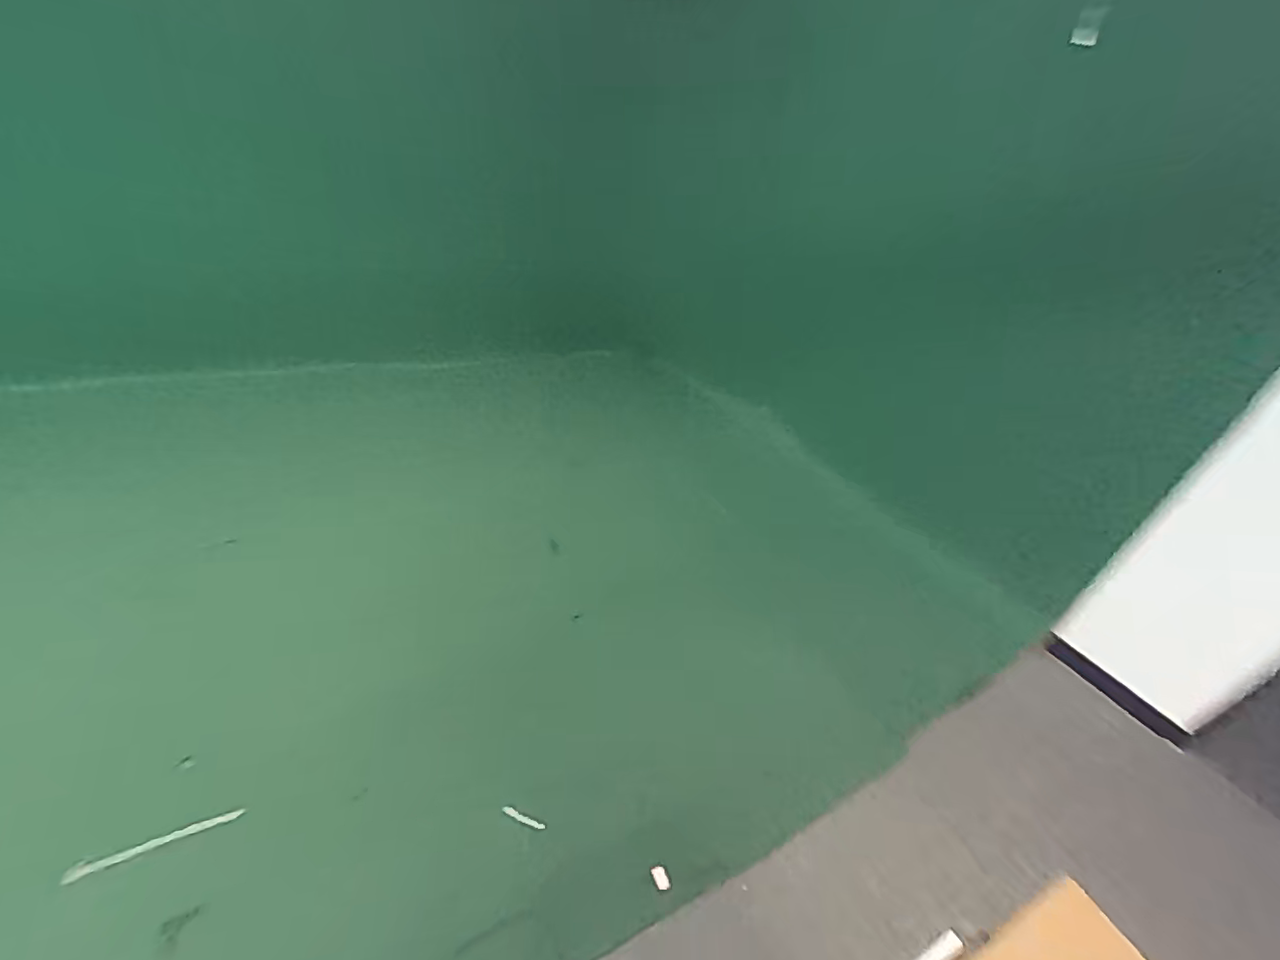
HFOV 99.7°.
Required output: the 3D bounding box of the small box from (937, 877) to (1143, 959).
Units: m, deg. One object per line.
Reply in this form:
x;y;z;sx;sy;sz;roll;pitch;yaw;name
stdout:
0.307;0.455;0.404;0.168;0.176;0.179;-9;41;-27;small box
